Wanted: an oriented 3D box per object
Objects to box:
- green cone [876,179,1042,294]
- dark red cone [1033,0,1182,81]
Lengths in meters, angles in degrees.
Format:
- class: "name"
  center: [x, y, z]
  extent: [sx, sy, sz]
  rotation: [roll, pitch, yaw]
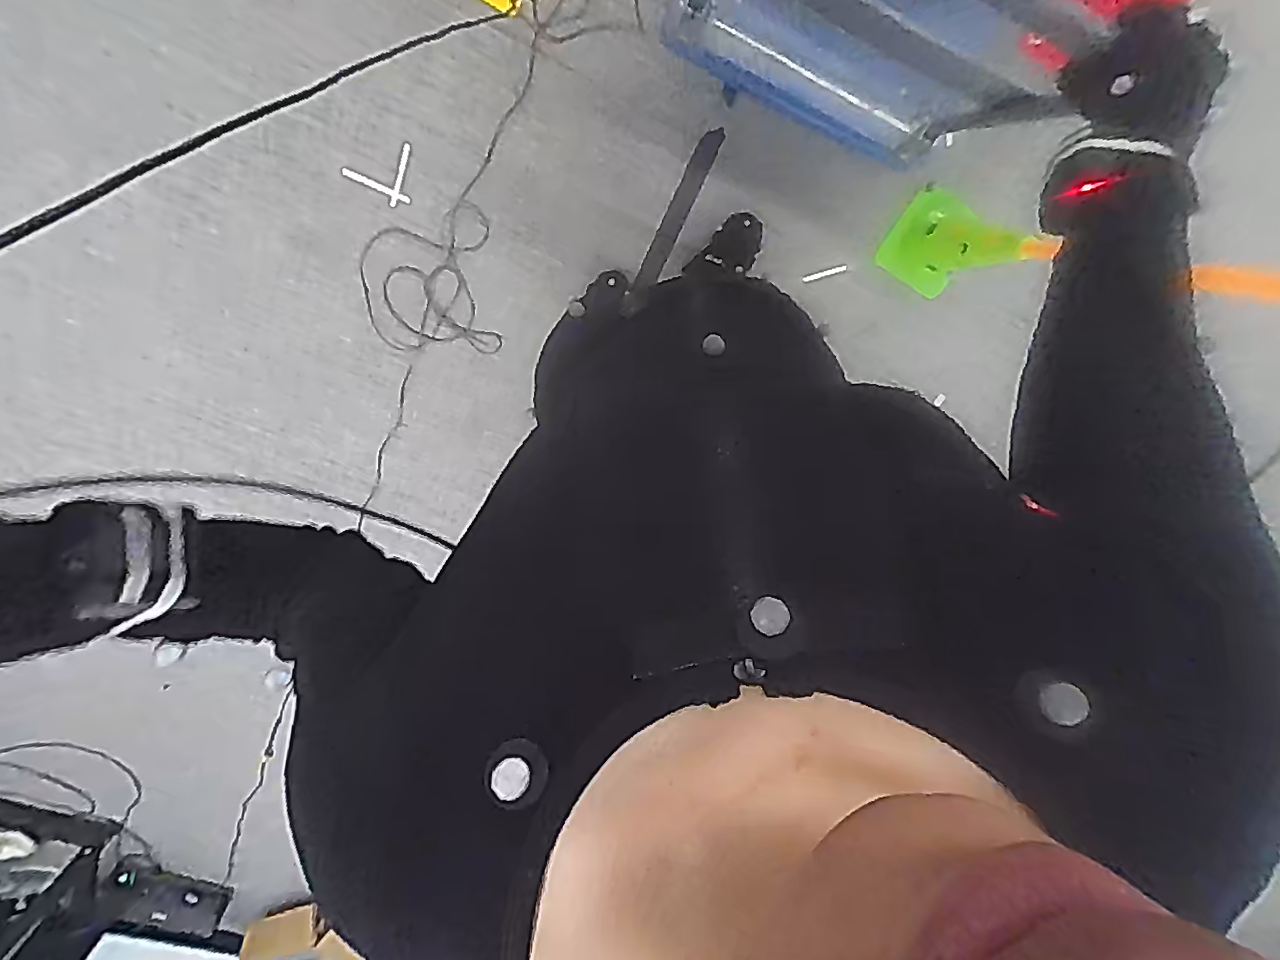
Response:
- class: "green cone"
  center: [0.698, -0.500, 1.139]
  extent: [0.202, 0.368, 0.200]
  rotation: [26, 113, -14]
- class: "dark red cone"
  center: [0.925, -0.880, 0.939]
  extent: [0.201, 0.394, 0.202]
  rotation: [22, 114, -13]
